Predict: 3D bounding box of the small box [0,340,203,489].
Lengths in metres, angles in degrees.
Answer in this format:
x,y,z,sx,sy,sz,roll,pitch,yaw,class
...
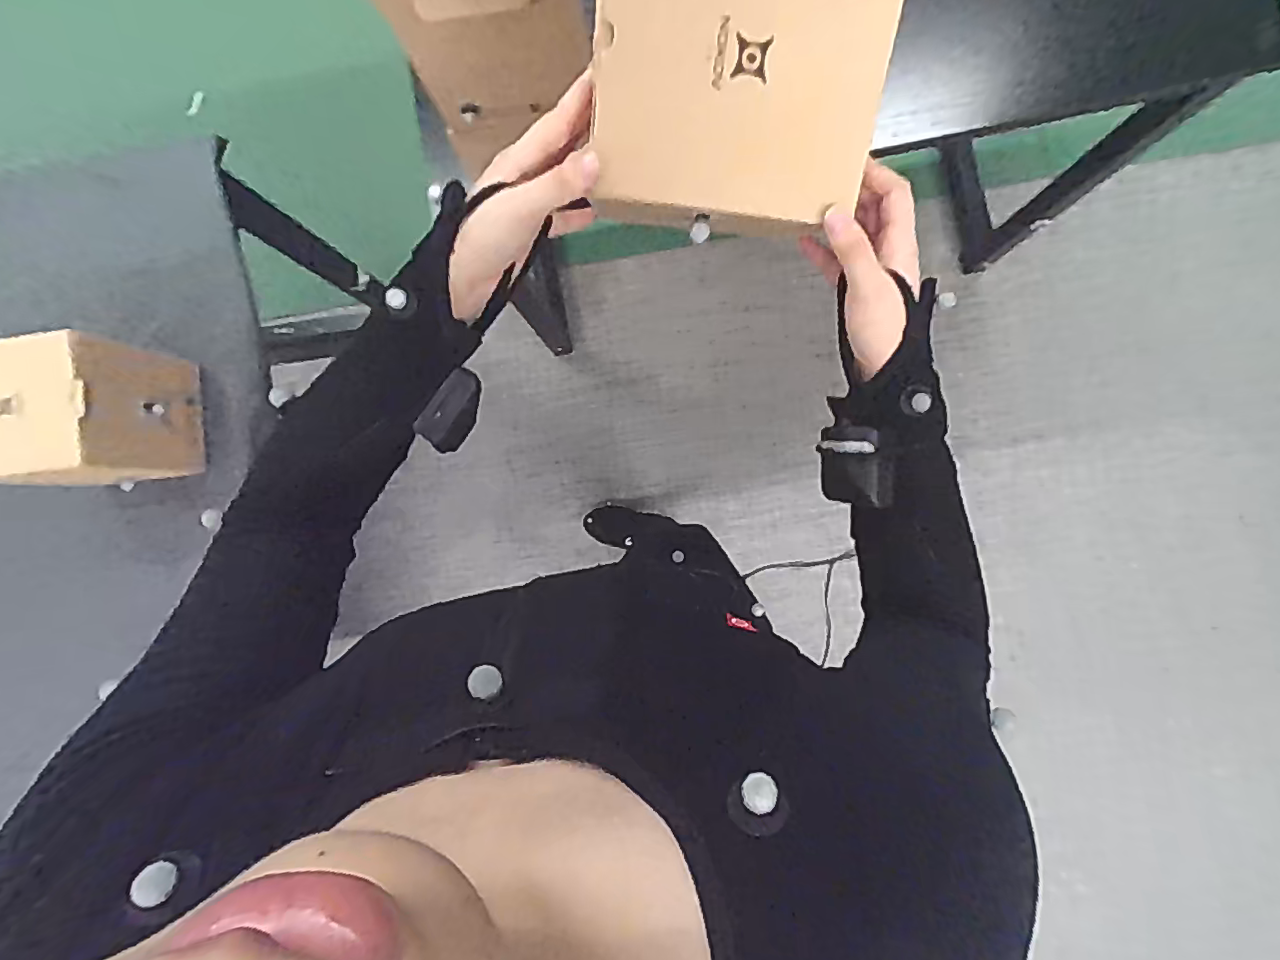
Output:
x,y,z,sx,sy,sz,roll,pitch,yaw,class
-0.730,-0.078,0.724,0.179,0.176,0.168,-6,88,5,small box

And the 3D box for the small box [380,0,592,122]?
x,y,z,sx,sy,sz,roll,pitch,yaw,class
-0.145,-0.493,0.538,0.168,0.176,0.179,-7,87,2,small box

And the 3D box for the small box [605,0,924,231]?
x,y,z,sx,sy,sz,roll,pitch,yaw,class
0.071,-0.281,0.391,0.179,0.176,0.168,6,112,-3,small box
